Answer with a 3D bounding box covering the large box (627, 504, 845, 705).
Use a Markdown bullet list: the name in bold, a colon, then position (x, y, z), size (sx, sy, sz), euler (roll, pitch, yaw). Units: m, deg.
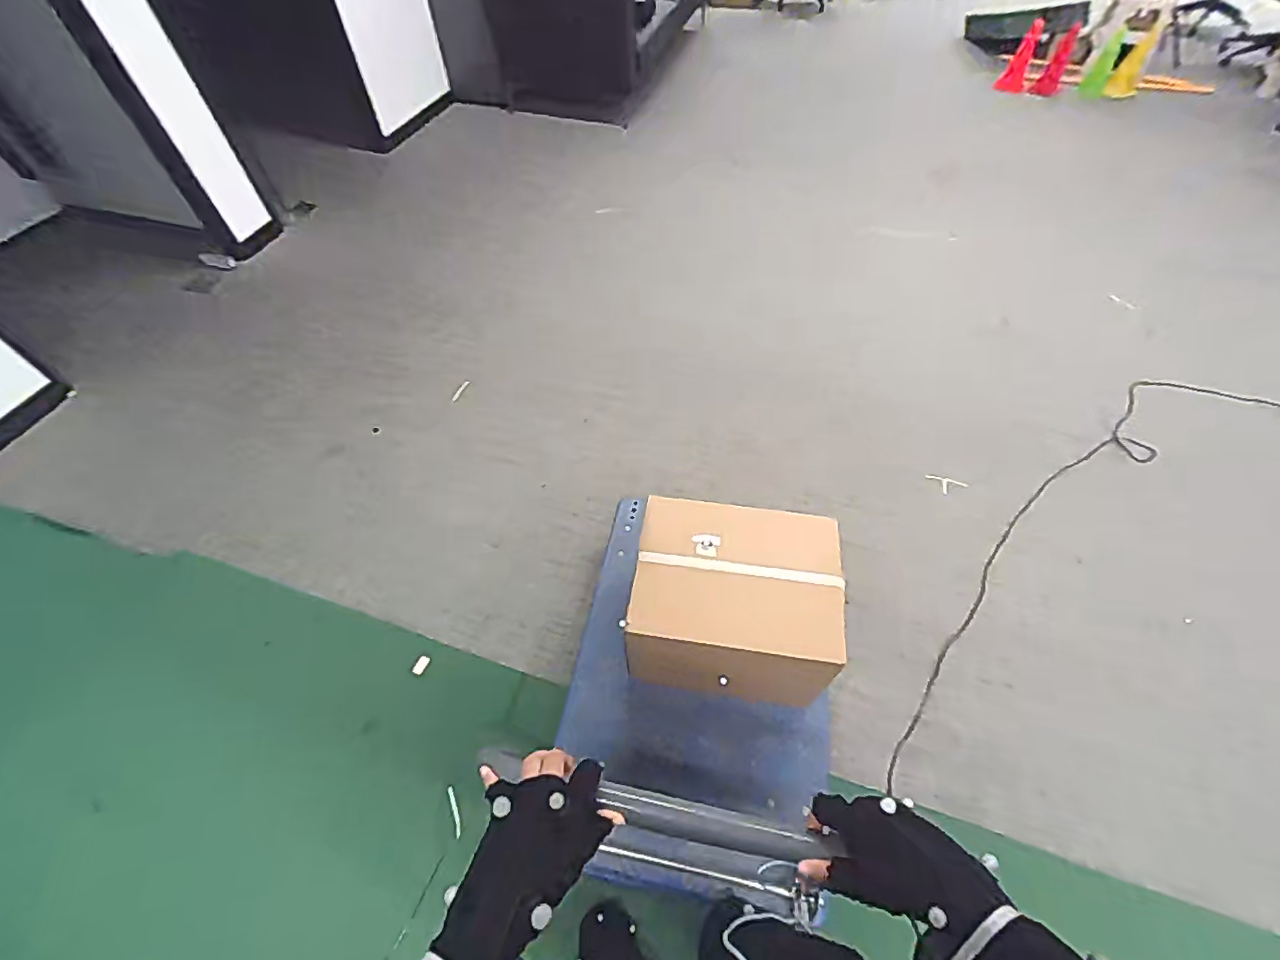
- **large box**: position (0.198, 0.280, 1.193), size (0.408, 0.320, 0.320), euler (6, 53, 7)
